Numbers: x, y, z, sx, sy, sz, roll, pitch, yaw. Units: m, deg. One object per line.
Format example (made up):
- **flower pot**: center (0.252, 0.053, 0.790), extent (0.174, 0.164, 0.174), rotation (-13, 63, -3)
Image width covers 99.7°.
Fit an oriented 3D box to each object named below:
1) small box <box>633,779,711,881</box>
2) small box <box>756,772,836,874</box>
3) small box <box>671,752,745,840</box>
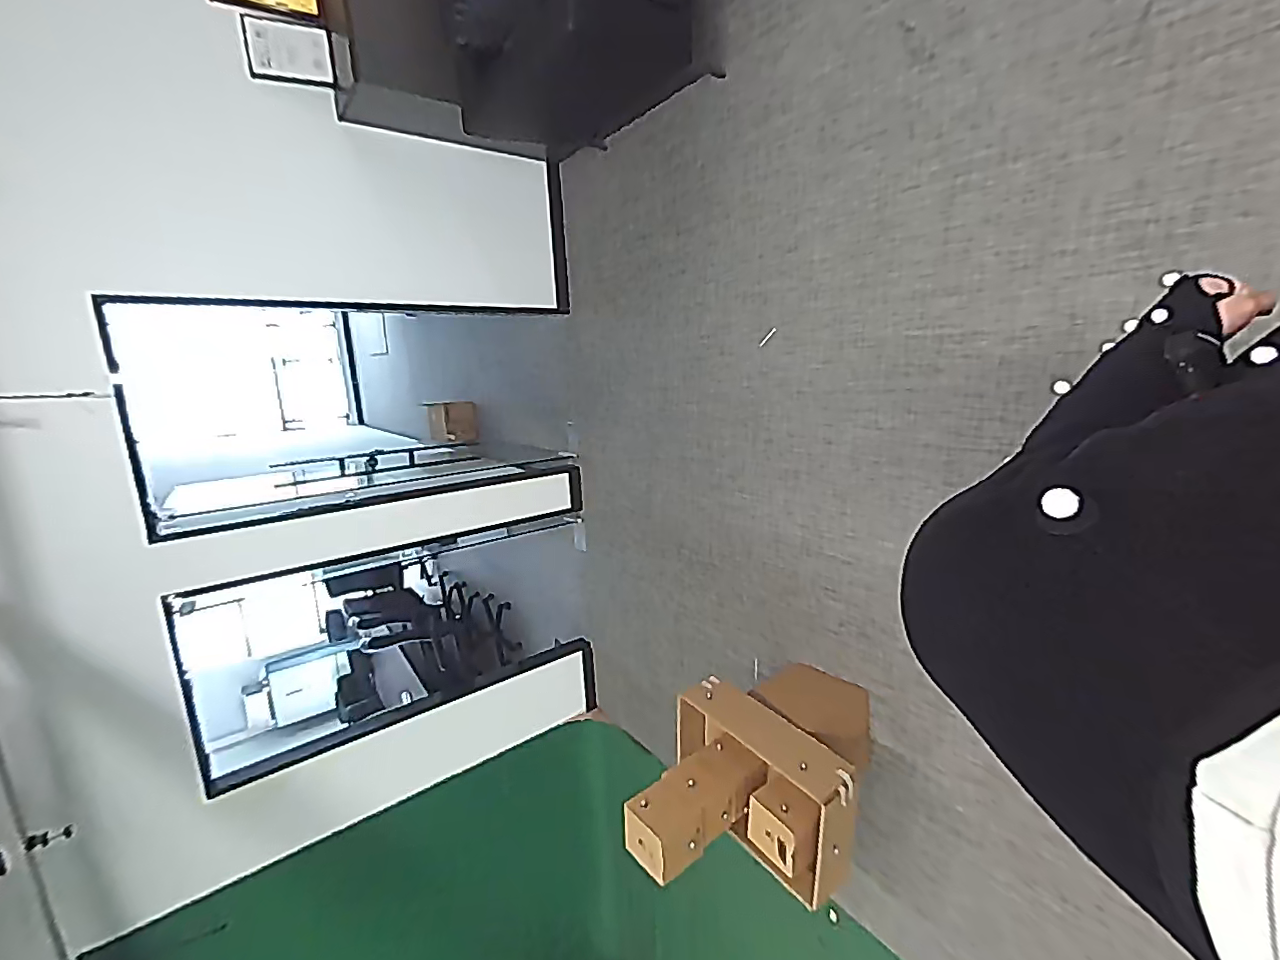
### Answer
- **small box**: center (0.096, 1.053, 1.651), extent (0.179, 0.176, 0.168), rotation (14, 110, 49)
- **small box**: center (0.482, 1.049, 1.670), extent (0.179, 0.176, 0.168), rotation (20, 114, 53)
- **small box**: center (0.216, 1.024, 1.761), extent (0.179, 0.176, 0.168), rotation (16, 112, 49)
